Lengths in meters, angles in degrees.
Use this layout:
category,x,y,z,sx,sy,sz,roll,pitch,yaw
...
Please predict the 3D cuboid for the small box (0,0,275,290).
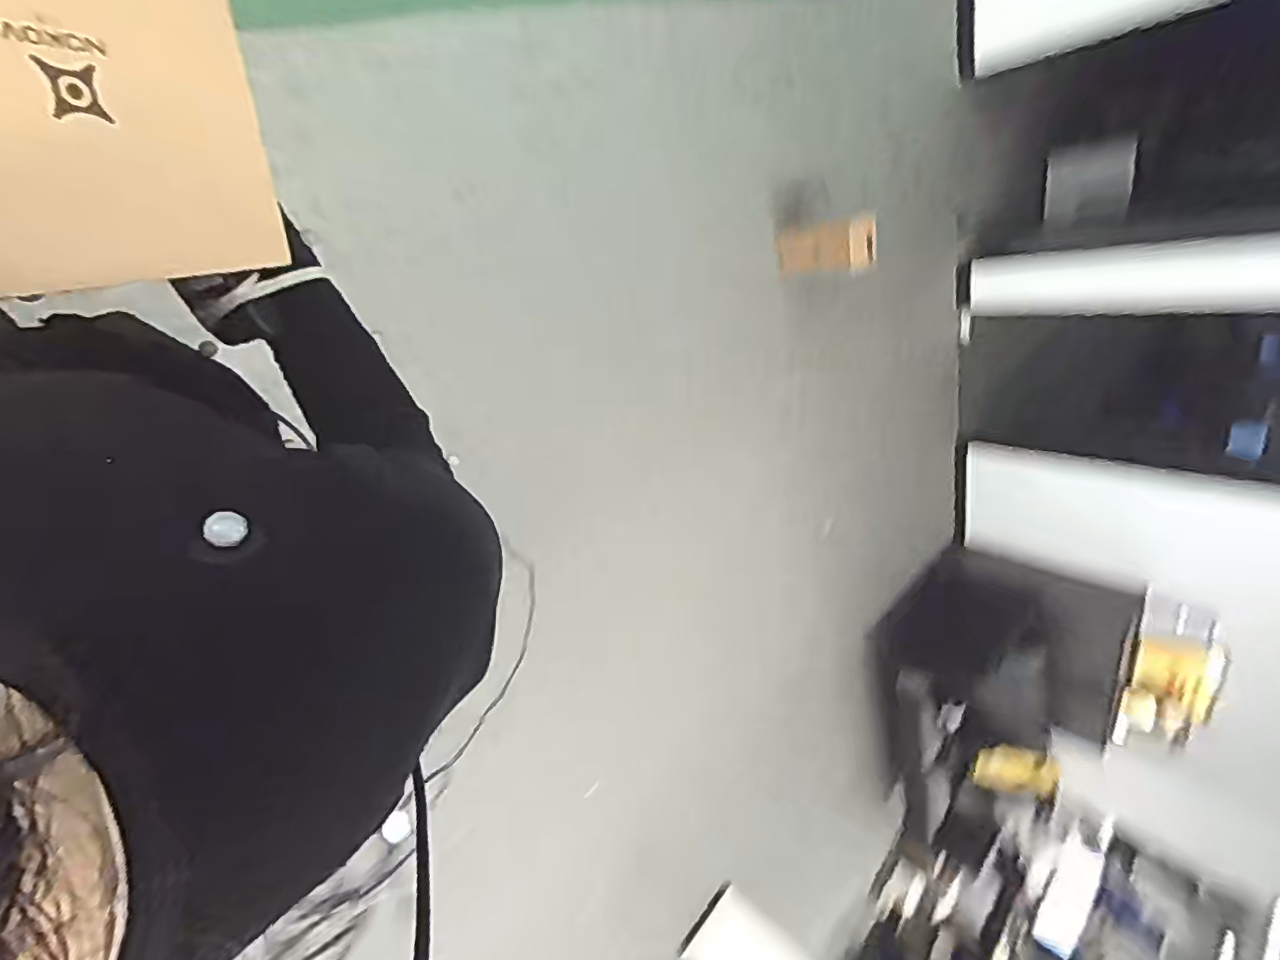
category,x,y,z,sx,sy,sz,roll,pitch,yaw
small box,-0.333,-0.201,0.268,0.168,0.176,0.179,-45,146,-56
